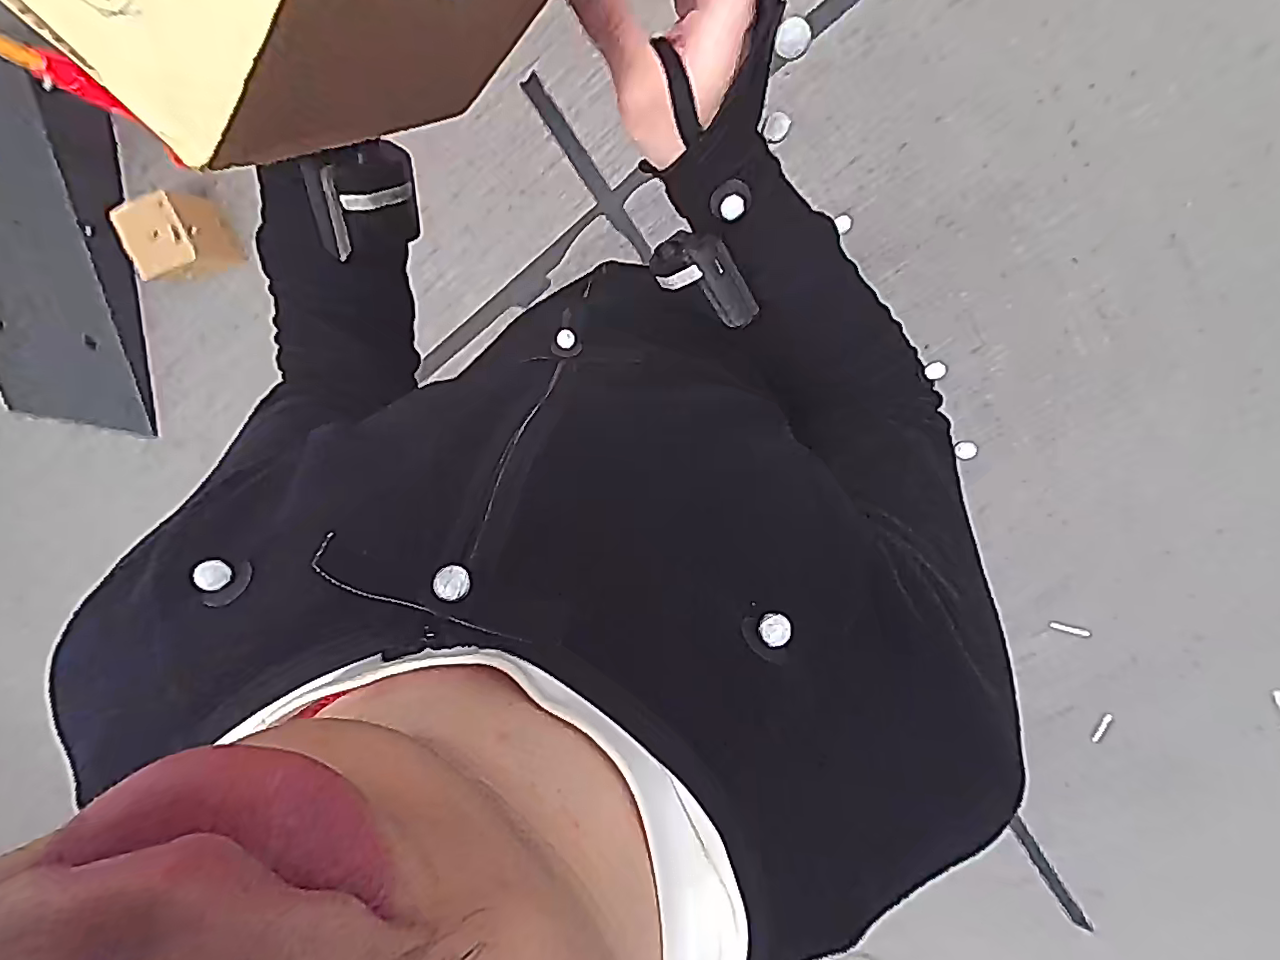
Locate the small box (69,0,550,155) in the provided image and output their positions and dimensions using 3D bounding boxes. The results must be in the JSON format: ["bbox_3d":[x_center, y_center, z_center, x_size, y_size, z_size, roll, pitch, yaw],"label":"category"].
[{"bbox_3d":[-0.092,-0.234,0.149,0.179,0.176,0.168,-28,117,32],"label":"small box"}]
